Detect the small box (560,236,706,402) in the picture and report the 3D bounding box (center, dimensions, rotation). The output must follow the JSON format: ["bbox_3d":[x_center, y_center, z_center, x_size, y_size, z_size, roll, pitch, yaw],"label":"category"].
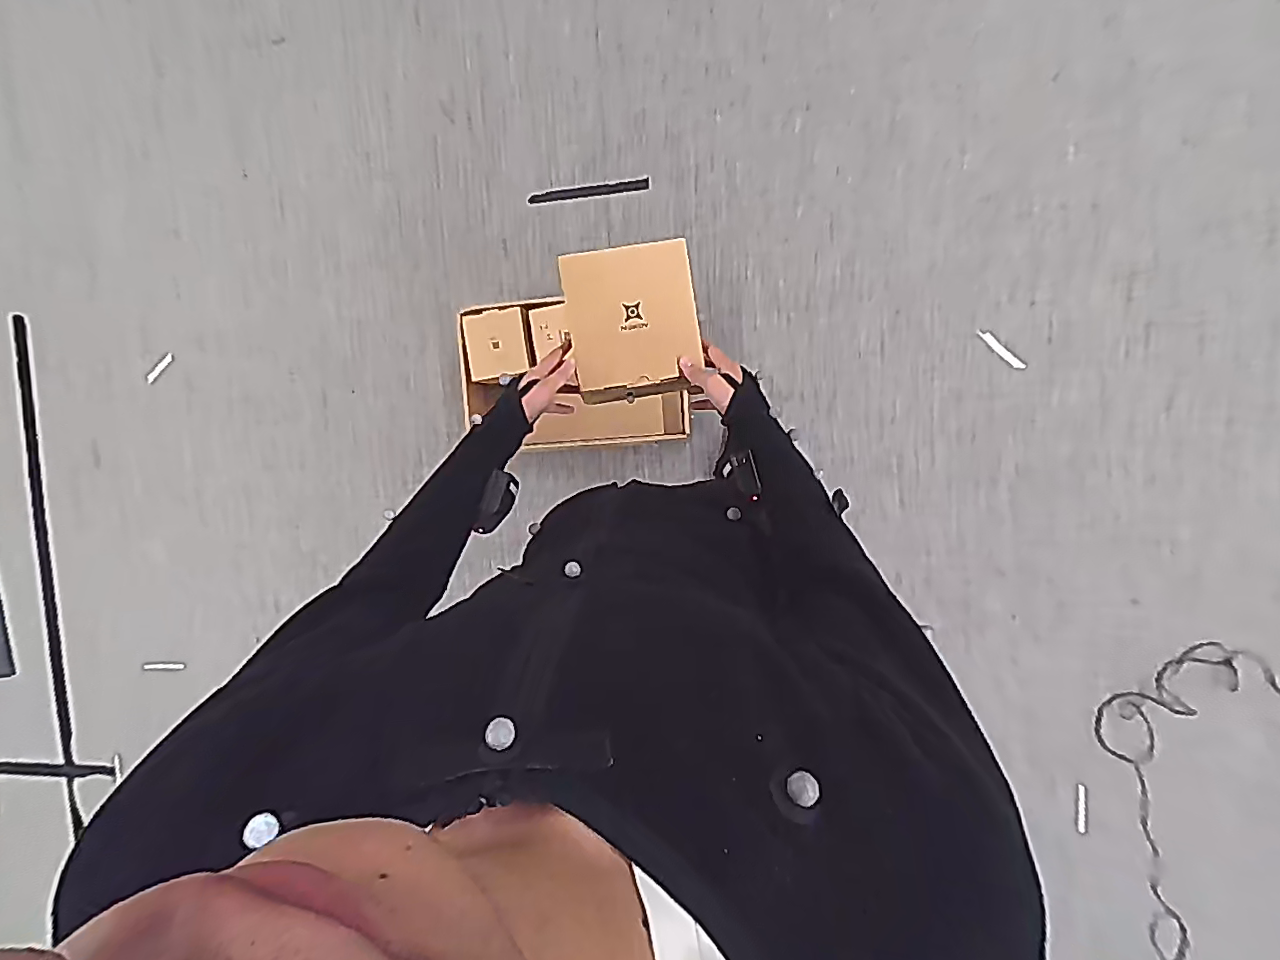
[{"bbox_3d":[-0.014,-0.212,0.755,0.168,0.176,0.179,-10,95,-3],"label":"small box"}]

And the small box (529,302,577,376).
[{"bbox_3d":[-0.186,-0.387,1.488,0.179,0.176,0.168,-9,94,6],"label":"small box"}]
